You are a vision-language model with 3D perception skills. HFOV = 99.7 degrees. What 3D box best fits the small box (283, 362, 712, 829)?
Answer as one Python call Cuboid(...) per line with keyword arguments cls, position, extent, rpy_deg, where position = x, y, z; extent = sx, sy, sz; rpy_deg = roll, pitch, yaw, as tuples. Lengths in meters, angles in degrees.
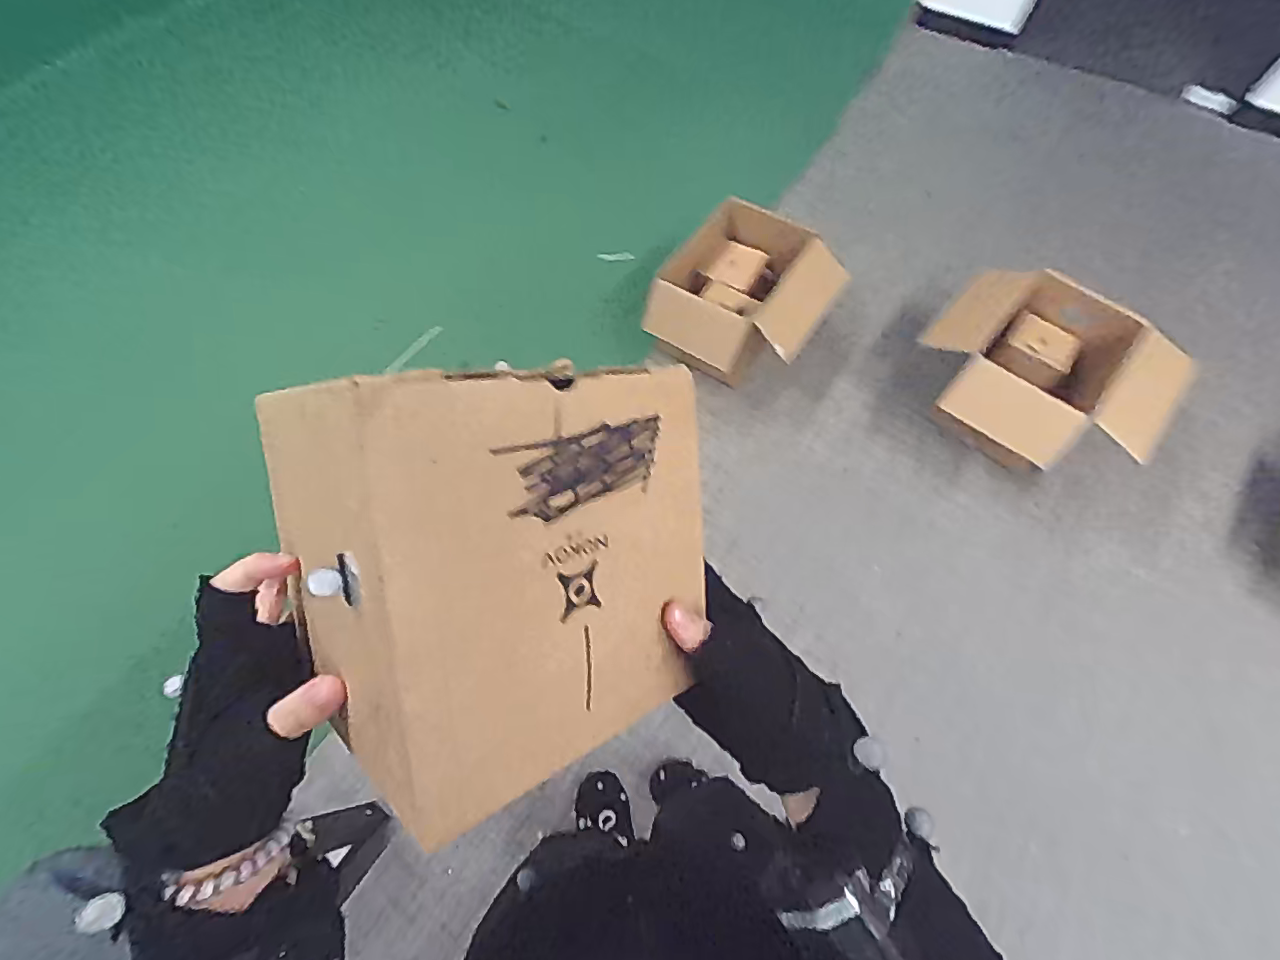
Cuboid(cls="small box", position=(-0.079, 0.032, 0.301), extent=(0.168, 0.176, 0.179), rpy_deg=(-12, 102, -41))
